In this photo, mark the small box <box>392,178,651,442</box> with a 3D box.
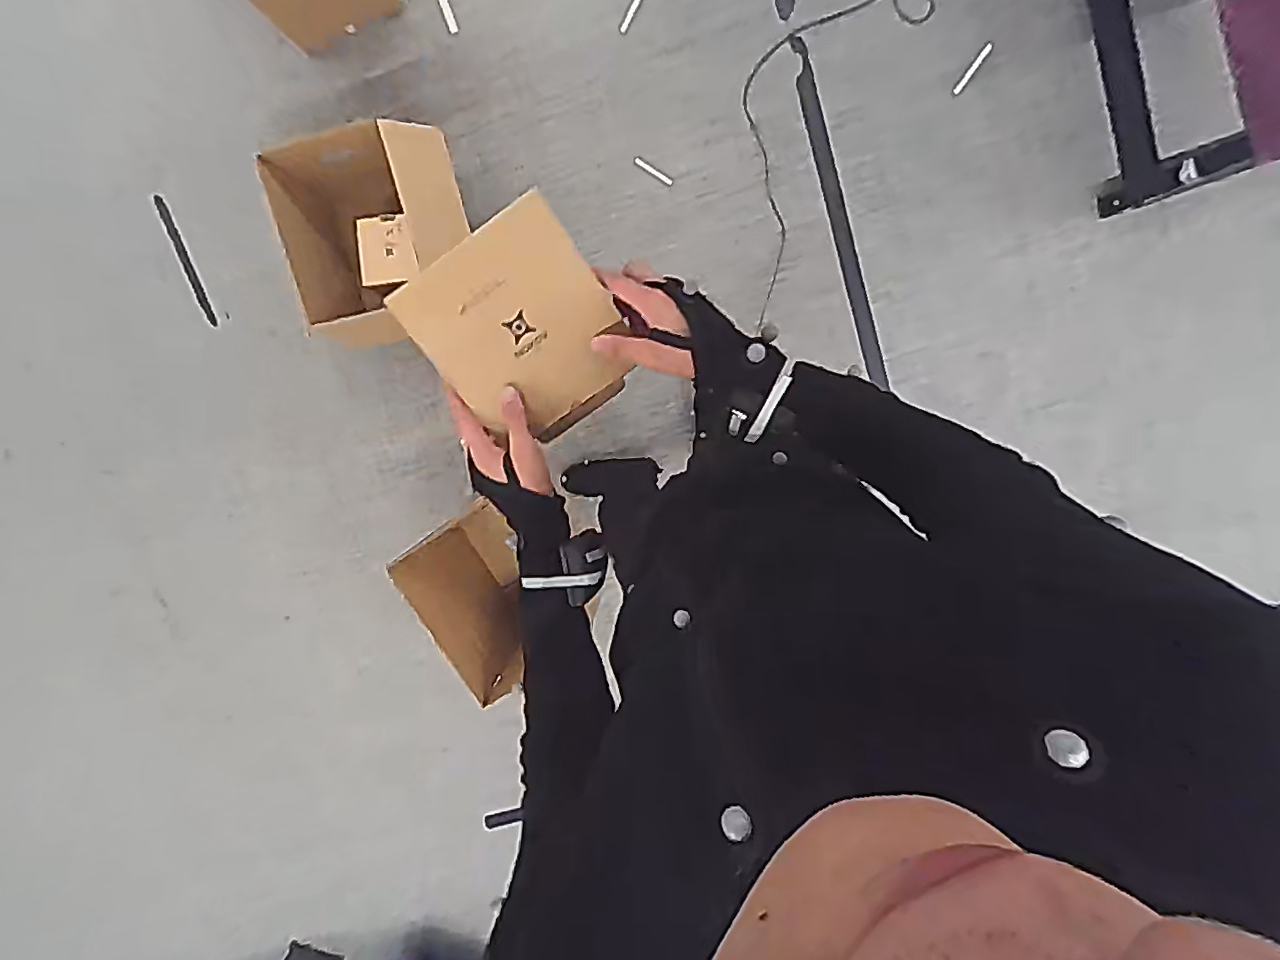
[{"bbox_3d":[-0.110,-0.170,0.556,0.168,0.176,0.179,-33,110,3],"label":"small box"}]
